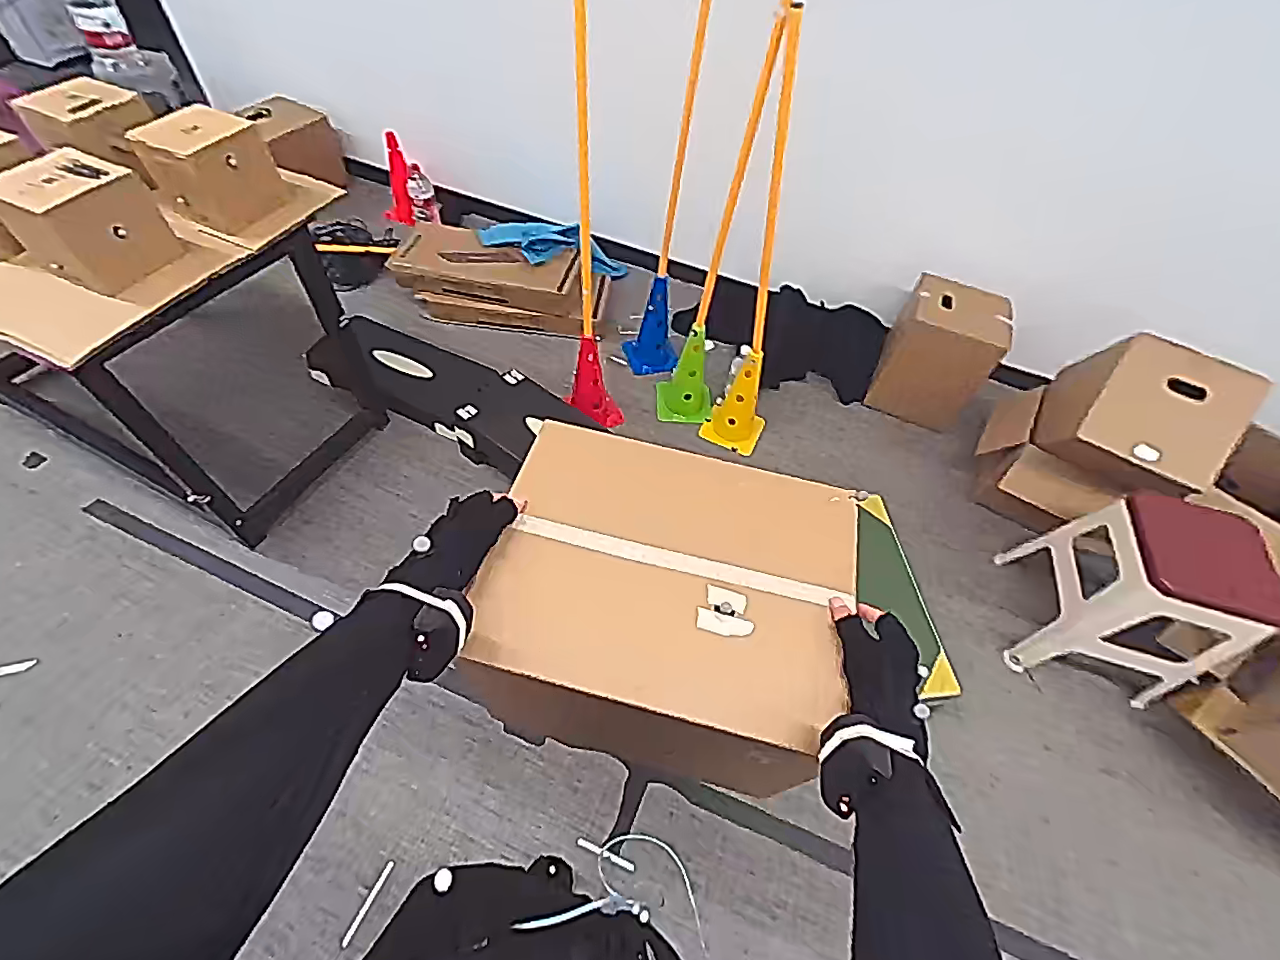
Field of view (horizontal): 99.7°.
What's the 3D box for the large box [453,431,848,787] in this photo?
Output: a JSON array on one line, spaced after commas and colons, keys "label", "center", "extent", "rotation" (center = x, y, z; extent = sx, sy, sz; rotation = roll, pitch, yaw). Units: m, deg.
[{"label": "large box", "center": [0.024, 0.181, 0.733], "extent": [0.408, 0.320, 0.320], "rotation": [14, 56, 5]}]
